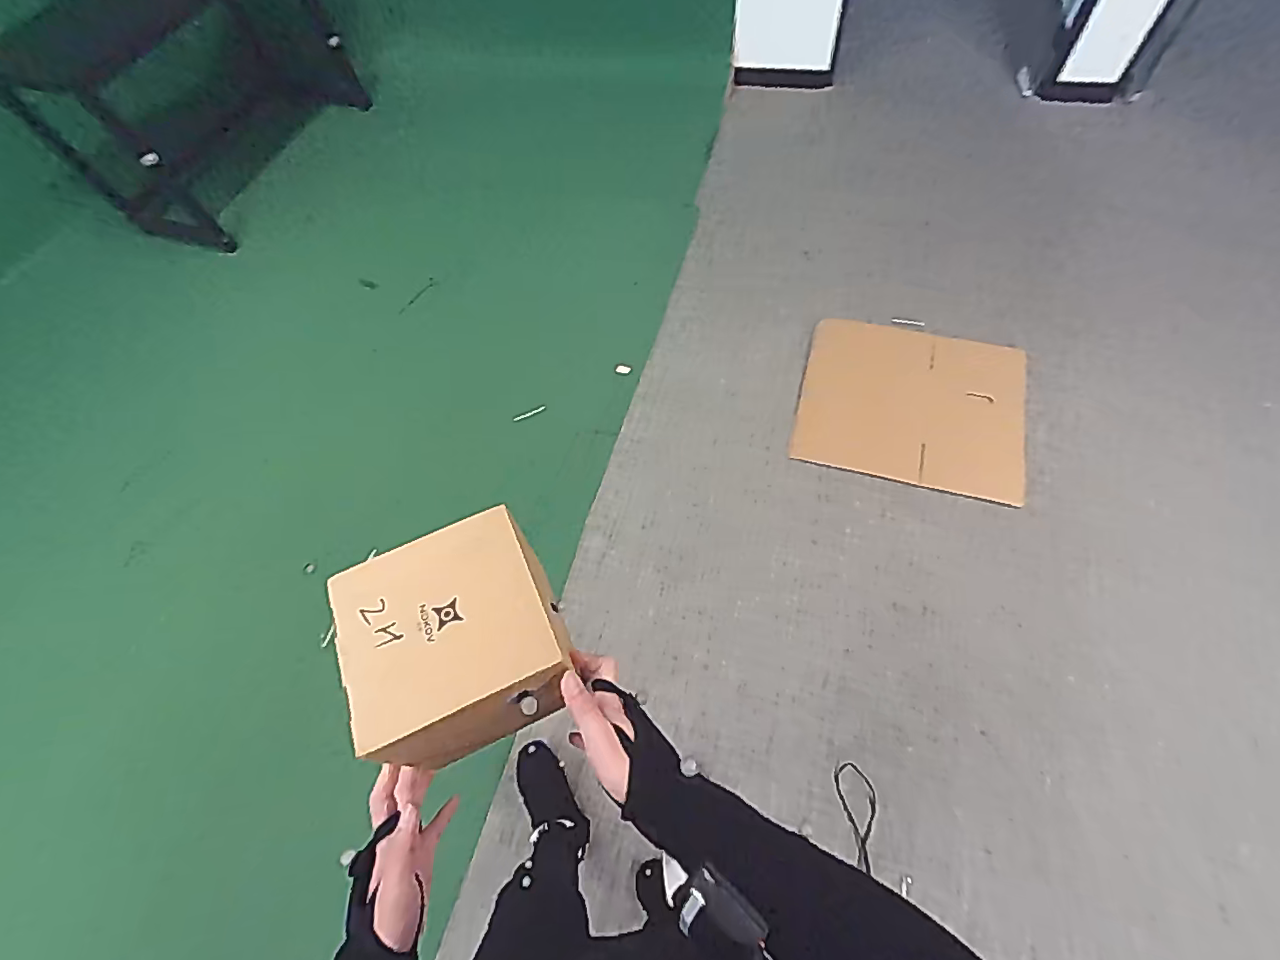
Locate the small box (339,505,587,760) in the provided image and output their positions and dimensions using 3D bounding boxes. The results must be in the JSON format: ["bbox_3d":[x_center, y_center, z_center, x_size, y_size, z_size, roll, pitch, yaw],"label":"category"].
[{"bbox_3d":[-0.161,0.157,0.540,0.179,0.176,0.168,-23,60,-9],"label":"small box"}]
